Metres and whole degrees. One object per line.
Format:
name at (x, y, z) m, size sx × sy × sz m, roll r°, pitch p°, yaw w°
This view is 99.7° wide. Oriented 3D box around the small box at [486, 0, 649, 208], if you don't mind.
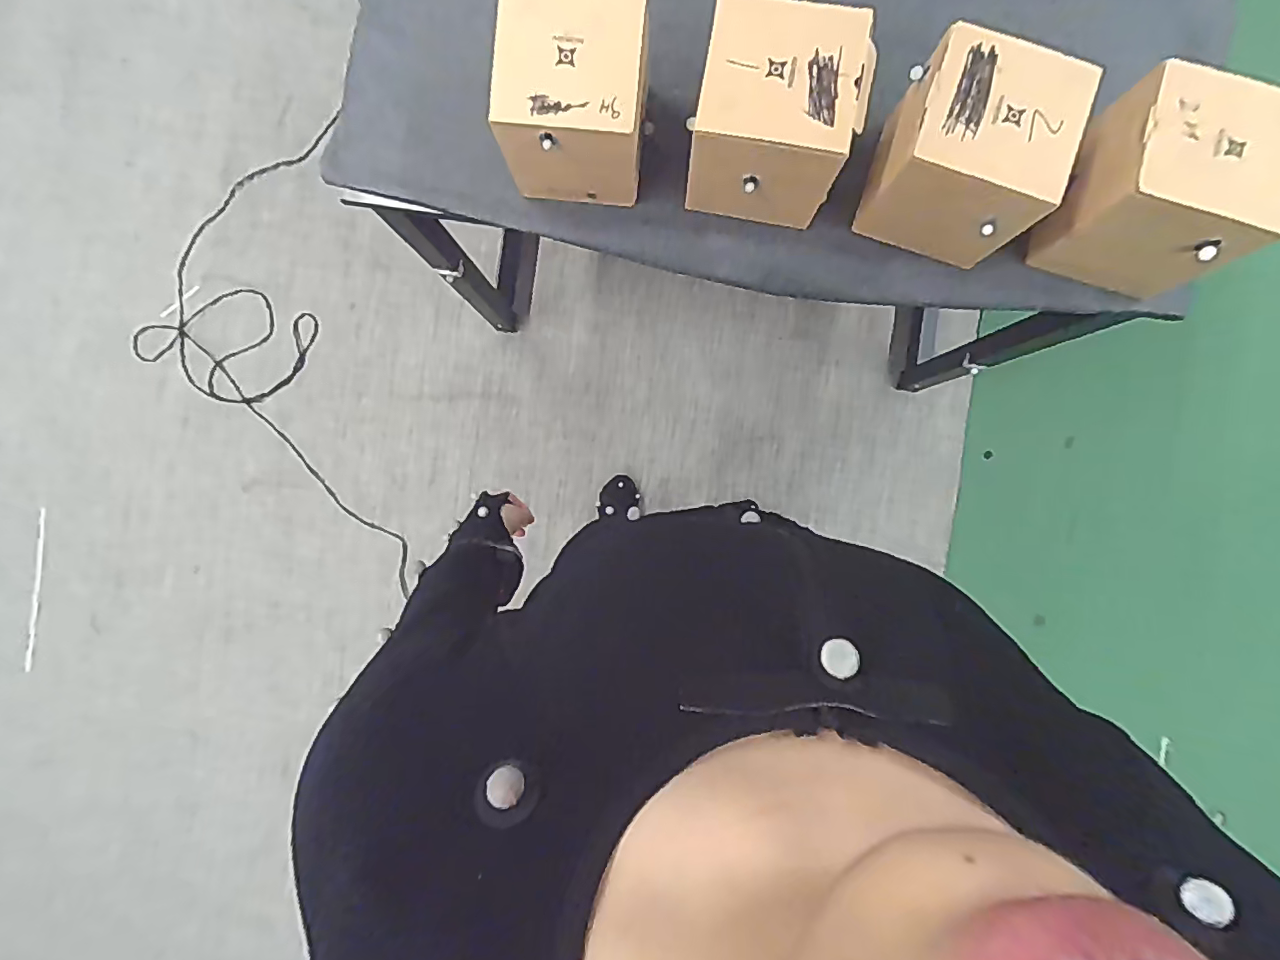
small box at (-0.080, -0.478, 0.681) m, size 0.168 × 0.176 × 0.179 m, roll 6°, pitch 90°, yaw 2°
